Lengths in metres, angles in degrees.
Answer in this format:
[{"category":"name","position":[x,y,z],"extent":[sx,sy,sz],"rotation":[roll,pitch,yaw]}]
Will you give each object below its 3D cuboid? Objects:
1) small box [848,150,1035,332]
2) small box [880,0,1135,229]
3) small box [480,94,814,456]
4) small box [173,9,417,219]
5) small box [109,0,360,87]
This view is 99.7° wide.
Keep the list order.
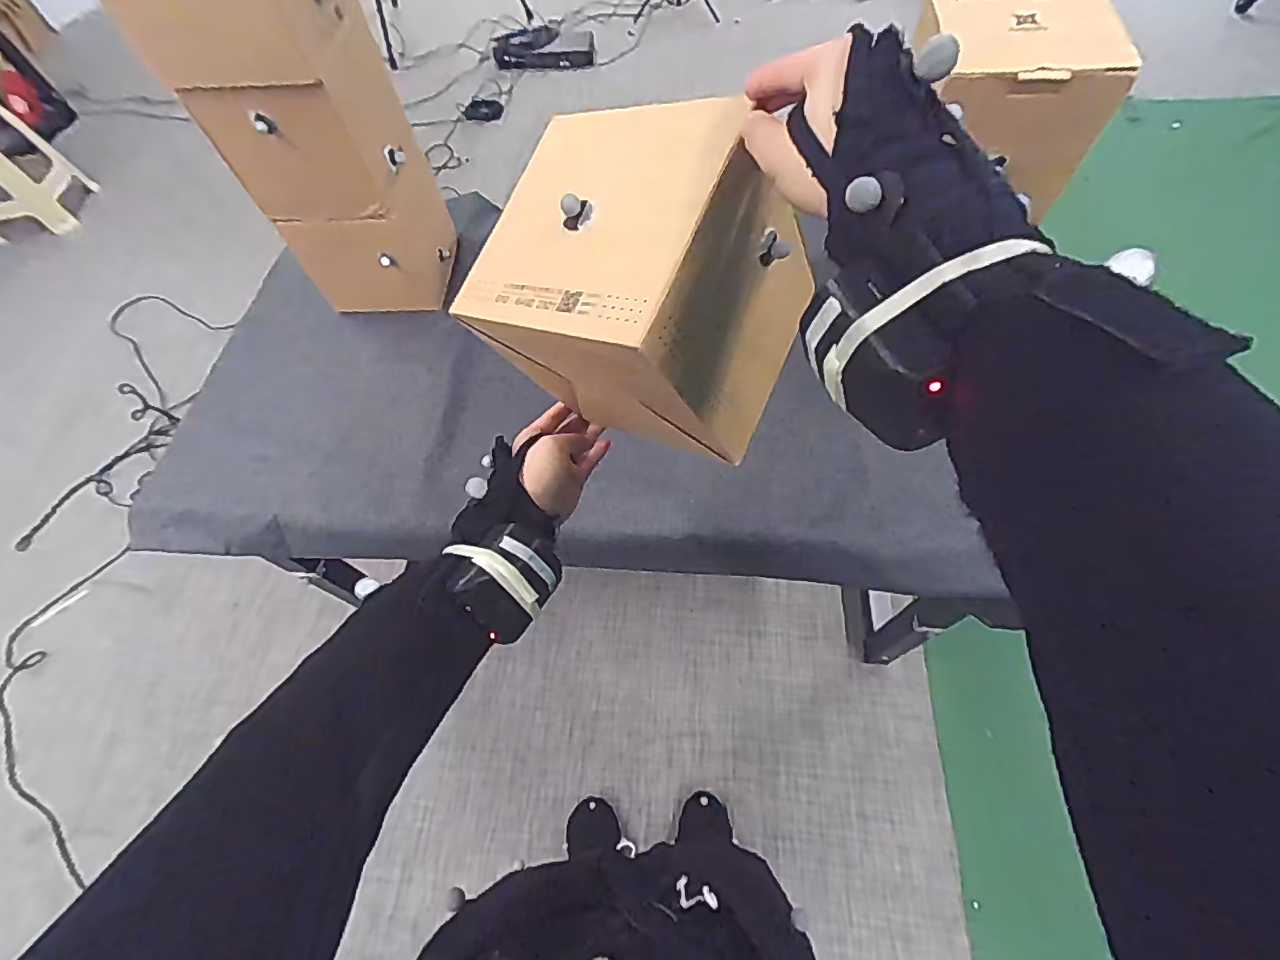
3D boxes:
[{"category":"small box","position":[0.395,-0.331,0.746],"extent":[0.168,0.176,0.179],"rotation":[5,63,7]},{"category":"small box","position":[0.379,-0.403,0.599],"extent":[0.168,0.176,0.179],"rotation":[5,64,7]},{"category":"small box","position":[0.007,-0.135,0.403],"extent":[0.168,0.179,0.176],"rotation":[20,81,33]},{"category":"small box","position":[-0.415,-0.456,0.688],"extent":[0.179,0.176,0.168],"rotation":[0,63,2]},{"category":"small box","position":[-0.422,-0.525,0.538],"extent":[0.179,0.176,0.168],"rotation":[1,63,3]}]
